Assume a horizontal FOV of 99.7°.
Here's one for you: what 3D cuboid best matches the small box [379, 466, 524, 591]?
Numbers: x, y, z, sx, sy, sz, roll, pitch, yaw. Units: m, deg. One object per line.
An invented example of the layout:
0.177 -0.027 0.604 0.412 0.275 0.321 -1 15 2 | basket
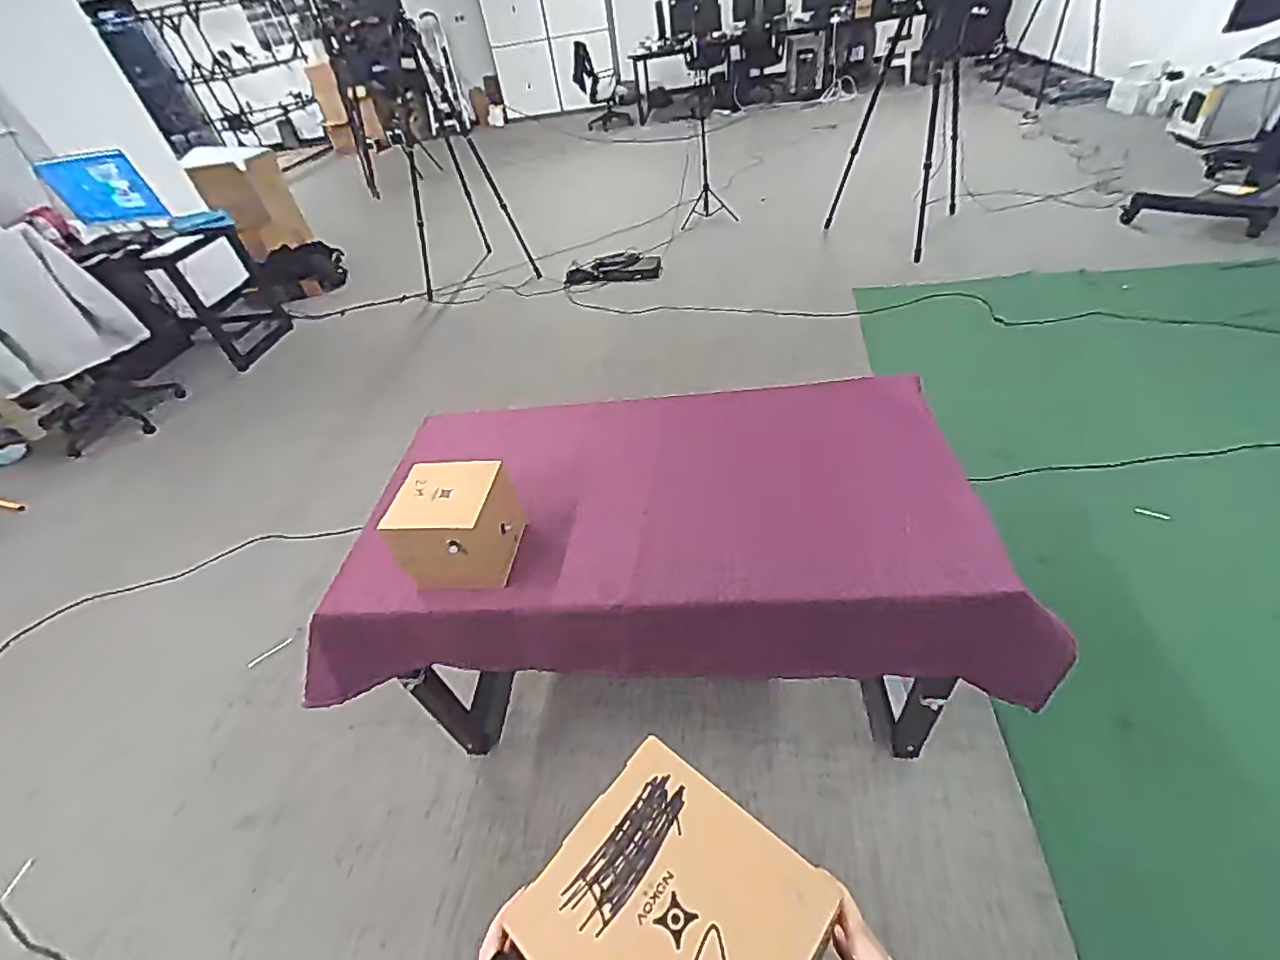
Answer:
-0.332 0.092 0.997 0.179 0.176 0.168 -2 43 10 | small box
